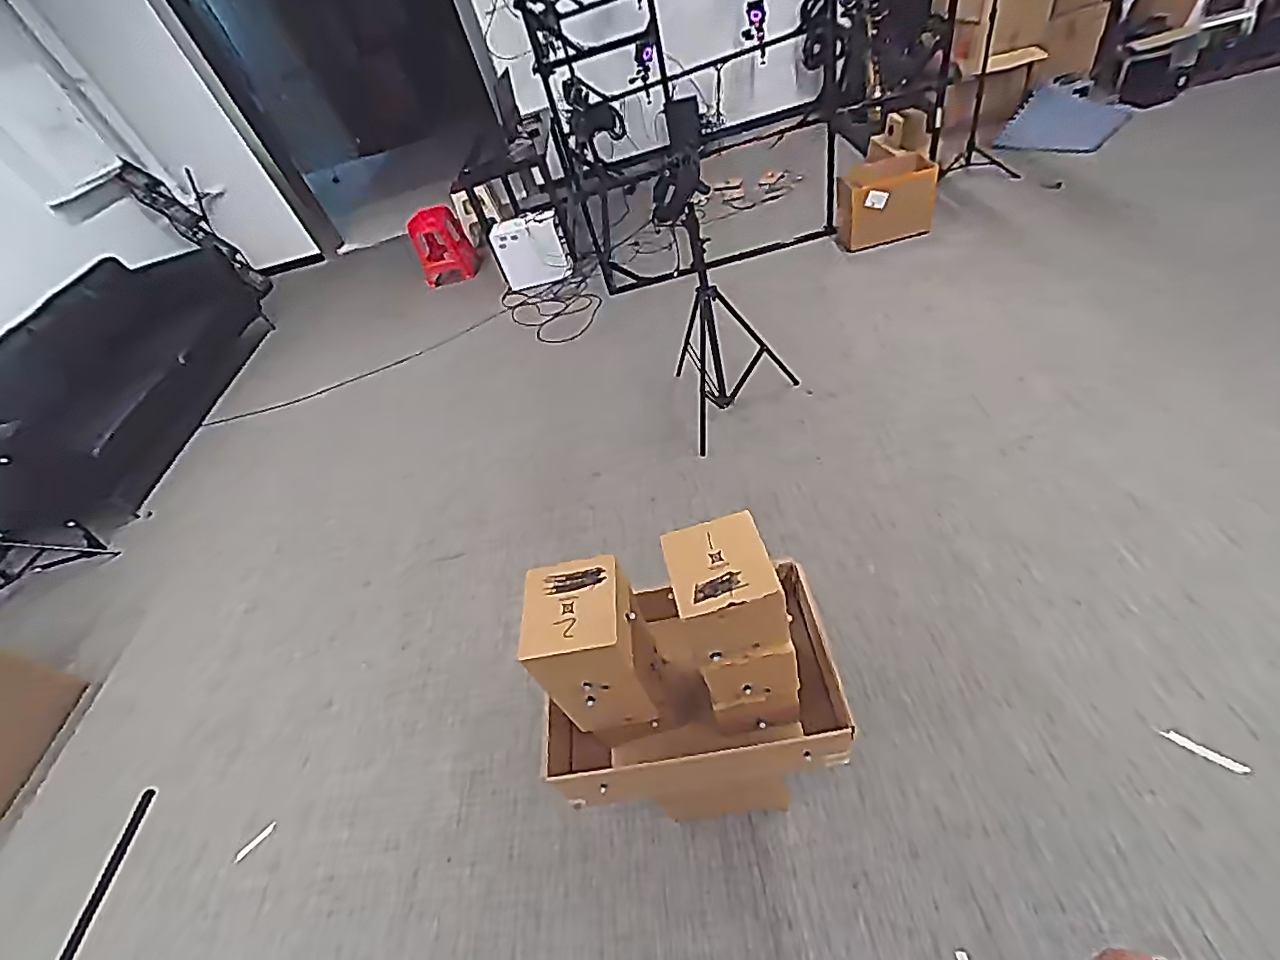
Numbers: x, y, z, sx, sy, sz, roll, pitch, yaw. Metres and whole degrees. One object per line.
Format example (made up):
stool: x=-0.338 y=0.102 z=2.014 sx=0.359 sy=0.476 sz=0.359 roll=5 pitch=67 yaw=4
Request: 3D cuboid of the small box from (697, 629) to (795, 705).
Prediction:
small box: x=0.193 y=0.307 z=1.046 sx=0.168 sy=0.176 sz=0.179 roll=-15 pitch=45 yaw=5

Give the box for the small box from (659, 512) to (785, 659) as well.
small box: x=0.144 y=0.190 z=0.940 sx=0.168 sy=0.176 sz=0.179 roll=-17 pitch=44 yaw=3

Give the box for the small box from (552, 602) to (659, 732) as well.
small box: x=-0.064 y=0.372 z=1.074 sx=0.168 sy=0.176 sz=0.179 roll=-14 pitch=44 yaw=8
